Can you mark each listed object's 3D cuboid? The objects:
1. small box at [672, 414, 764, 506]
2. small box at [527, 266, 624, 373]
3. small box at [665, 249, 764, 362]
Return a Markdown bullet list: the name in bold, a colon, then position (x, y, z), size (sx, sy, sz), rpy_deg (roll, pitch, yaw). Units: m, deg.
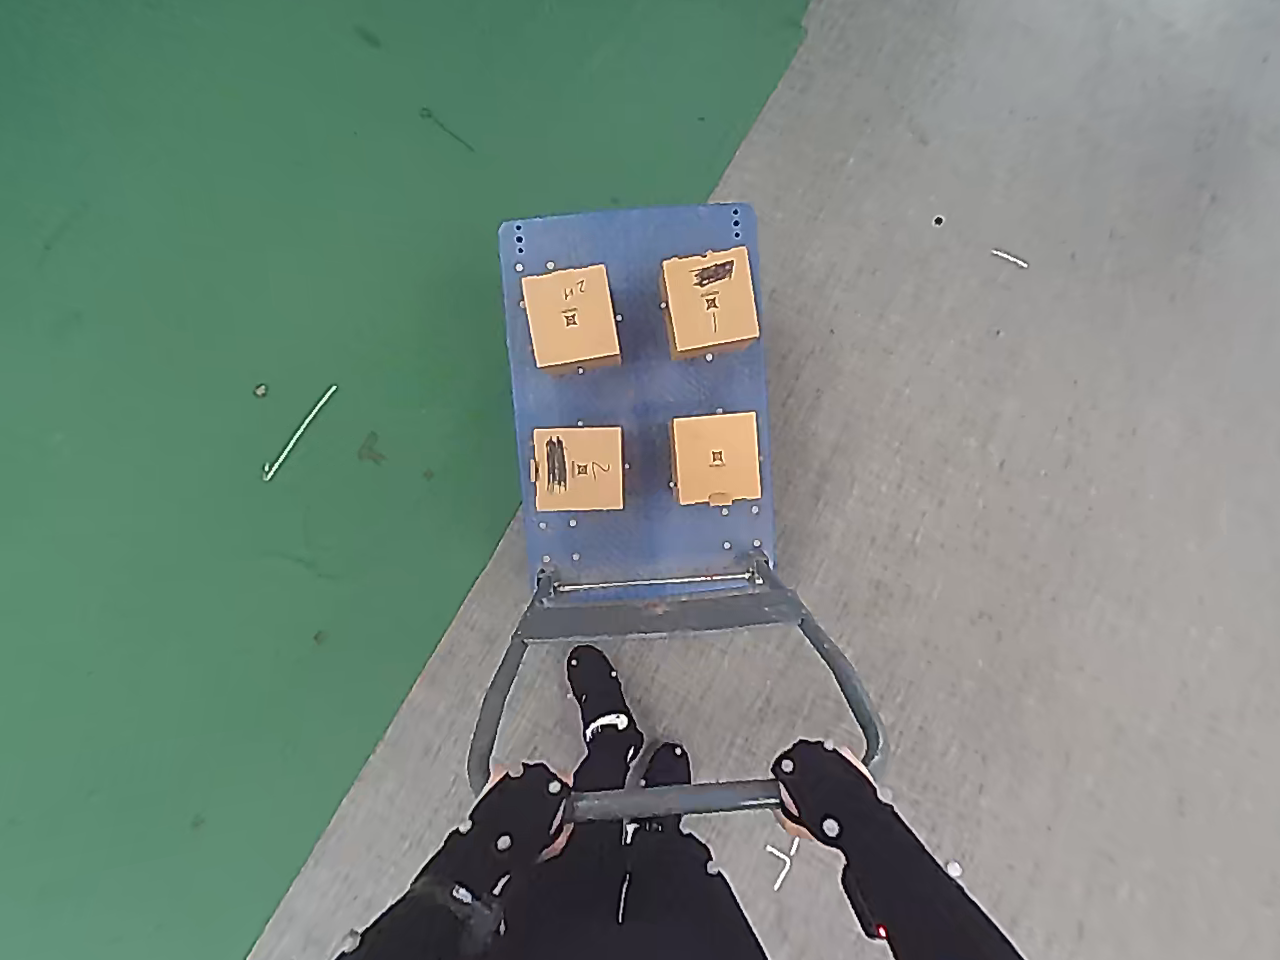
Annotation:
- **small box**: position (0.159, -0.045, 1.148), size (0.168, 0.176, 0.179), rpy_deg (-4, 96, 0)
- **small box**: position (-0.125, -0.322, 1.118), size (0.168, 0.176, 0.179), rpy_deg (-9, 95, -1)
- **small box**: position (0.147, -0.351, 1.118), size (0.168, 0.176, 0.179), rpy_deg (-9, 96, 1)
